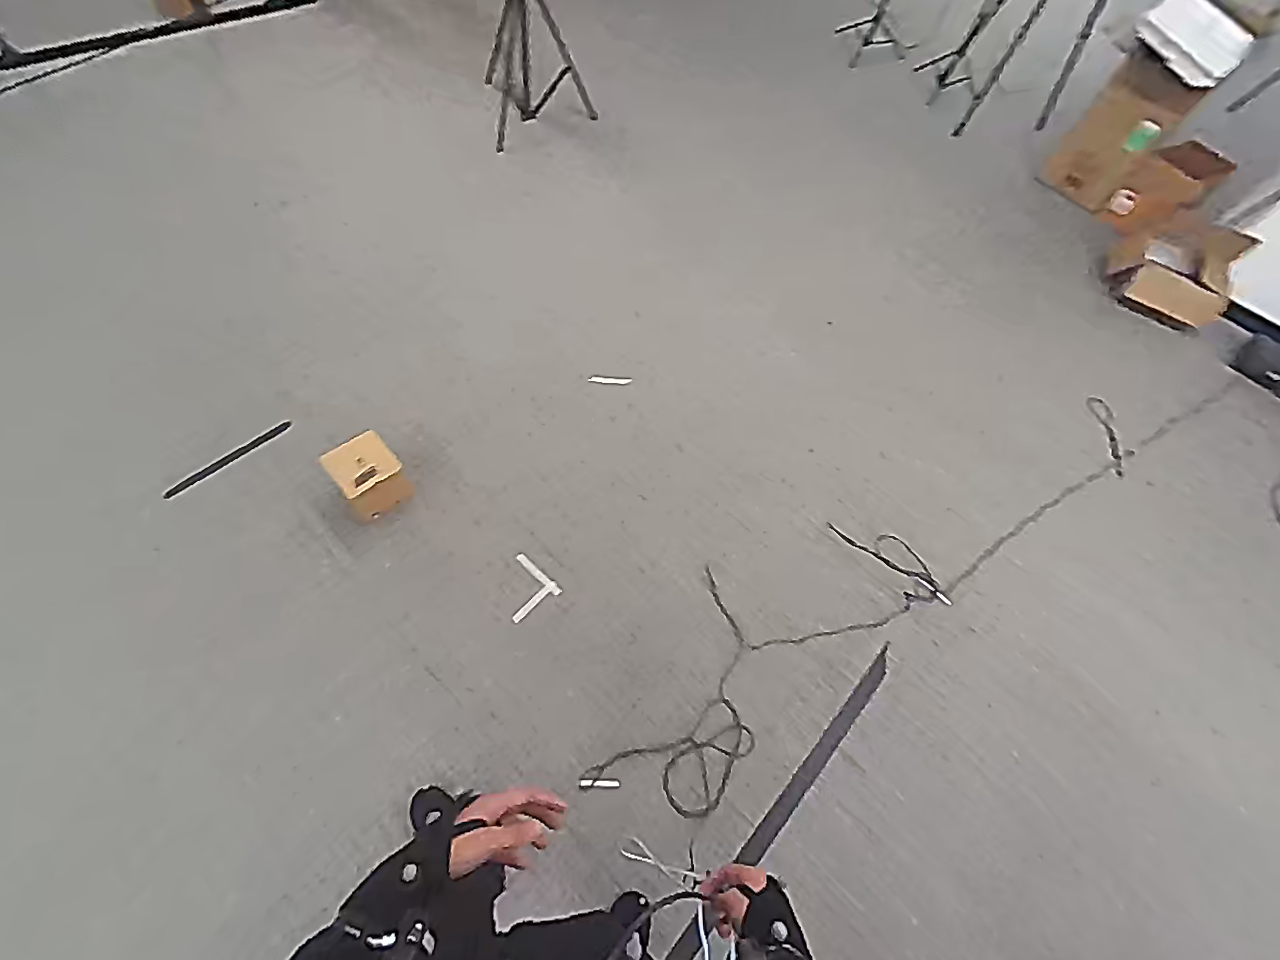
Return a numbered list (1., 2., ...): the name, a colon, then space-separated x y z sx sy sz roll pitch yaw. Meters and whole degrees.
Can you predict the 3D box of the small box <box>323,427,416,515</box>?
1. small box: -0.798 -0.017 1.614 0.168 0.176 0.179 -37 72 -25
